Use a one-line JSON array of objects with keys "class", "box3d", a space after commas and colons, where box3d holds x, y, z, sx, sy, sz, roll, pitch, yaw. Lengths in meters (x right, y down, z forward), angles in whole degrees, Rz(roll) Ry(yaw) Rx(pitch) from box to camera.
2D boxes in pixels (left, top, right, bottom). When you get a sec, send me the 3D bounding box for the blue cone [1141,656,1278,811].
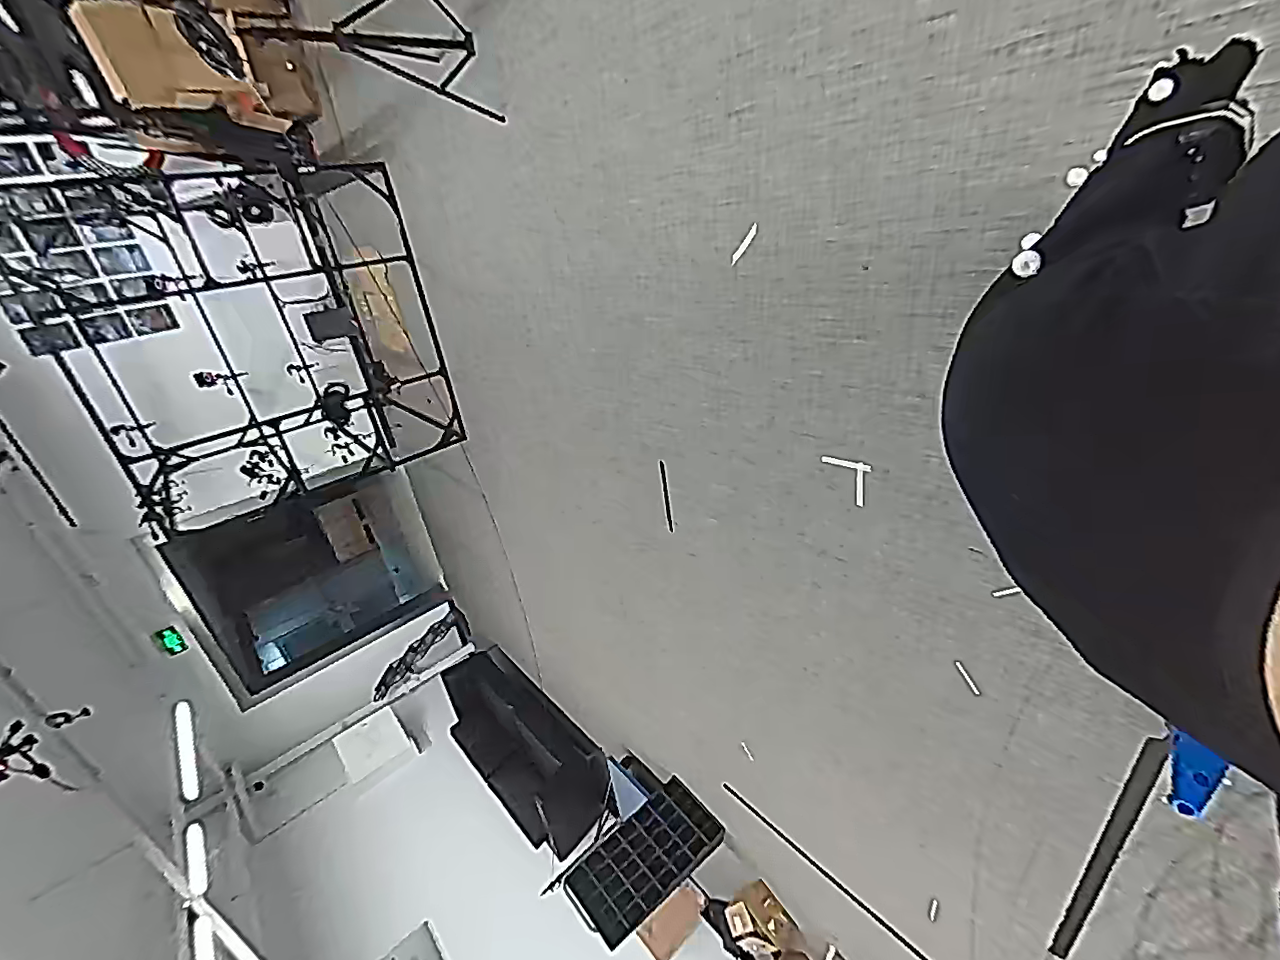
[{"class": "blue cone", "box3d": [1.205, 0.586, 1.180, 0.192, 0.380, 0.193, 38, 139, 34]}]
